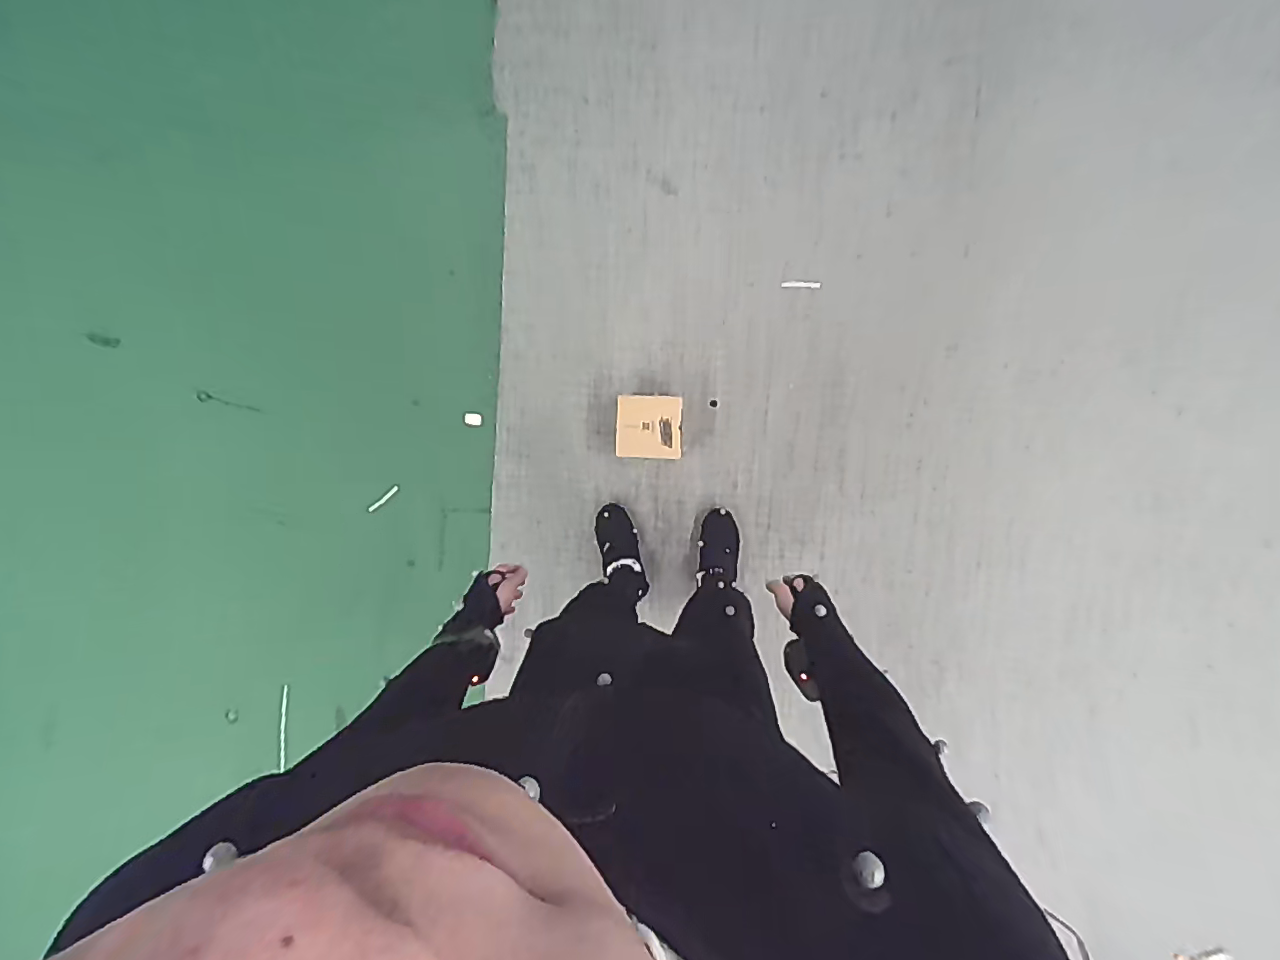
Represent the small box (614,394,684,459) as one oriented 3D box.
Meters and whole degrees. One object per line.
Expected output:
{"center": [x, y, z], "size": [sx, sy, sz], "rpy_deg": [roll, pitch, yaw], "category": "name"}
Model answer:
{"center": [0.028, -0.144, 1.493], "size": [0.179, 0.176, 0.168], "rpy_deg": [3, 92, 5], "category": "small box"}
